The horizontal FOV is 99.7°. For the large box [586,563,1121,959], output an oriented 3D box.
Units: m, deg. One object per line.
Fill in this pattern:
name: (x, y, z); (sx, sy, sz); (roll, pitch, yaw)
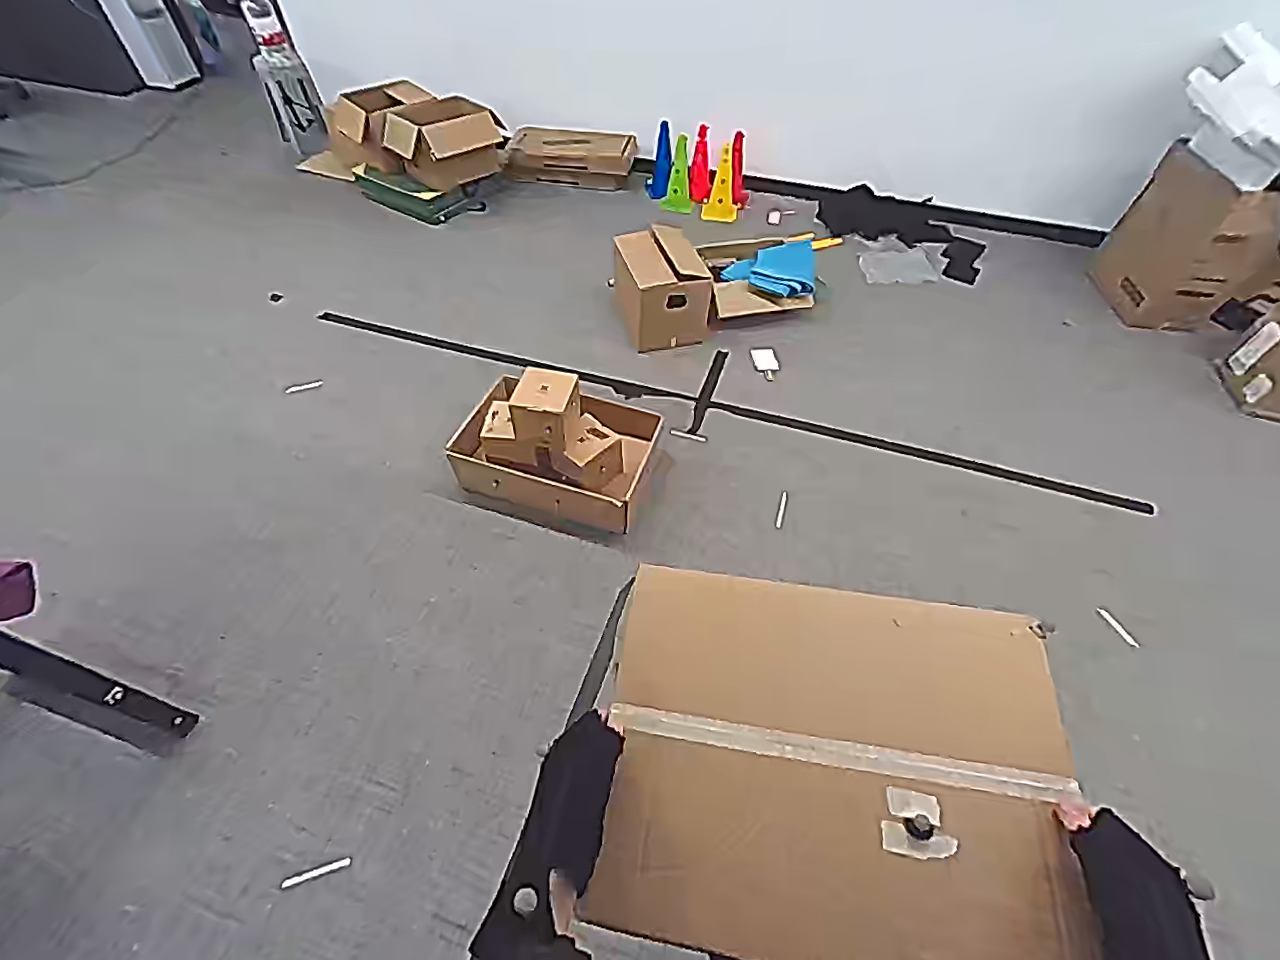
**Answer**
large box: (0.179, 0.317, 0.607); (0.408, 0.320, 0.320); (6, 57, 8)

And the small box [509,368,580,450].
small box: (-0.286, -0.215, 1.671); (0.168, 0.176, 0.179); (10, 51, 5)
